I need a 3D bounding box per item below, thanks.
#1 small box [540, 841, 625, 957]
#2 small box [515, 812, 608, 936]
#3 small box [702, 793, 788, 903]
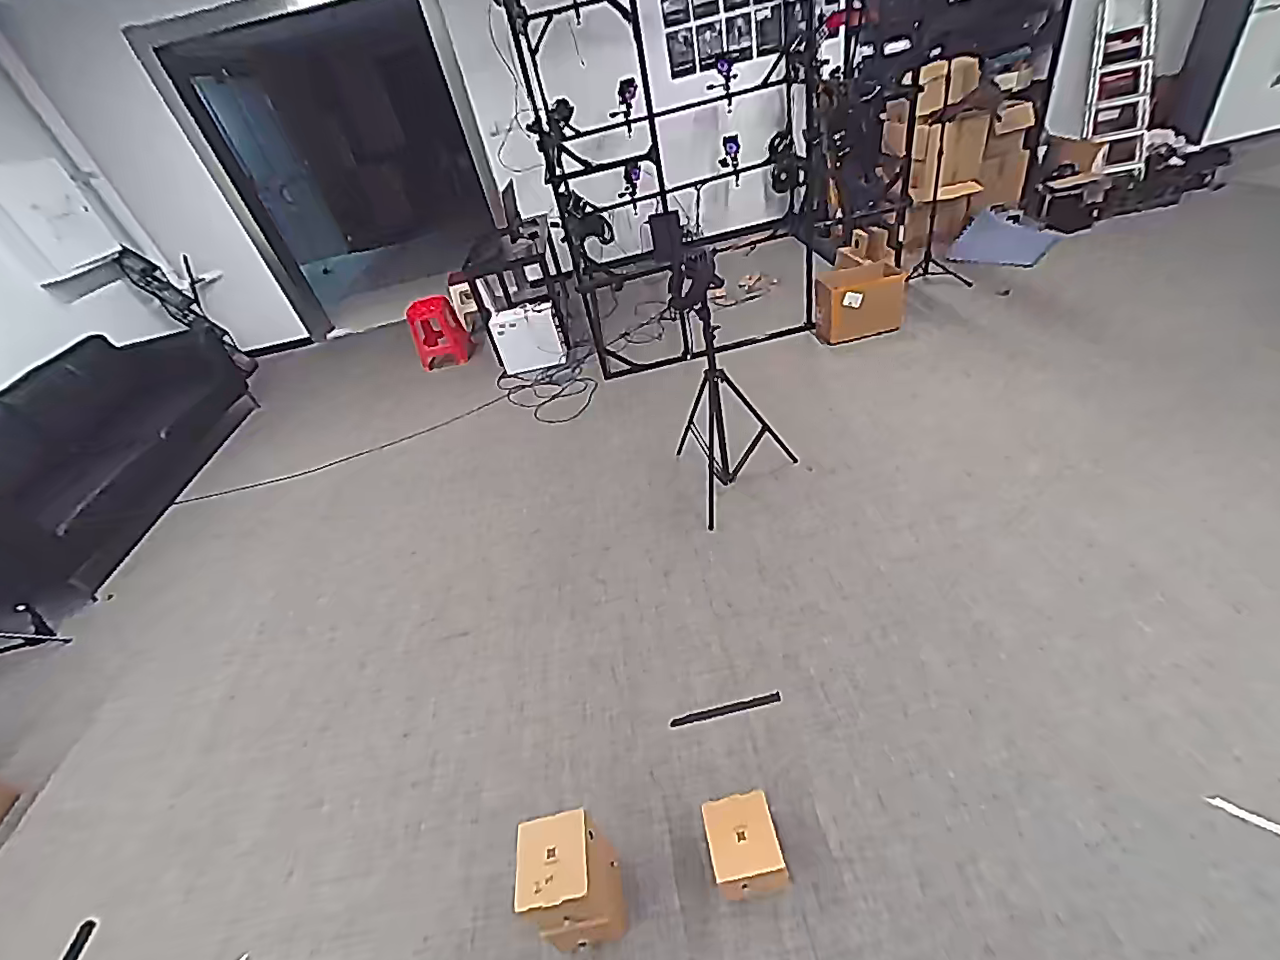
[{"bbox_3d":[-0.141,1.037,1.337,0.168,0.176,0.179,-15,37,2],"label":"small box"},{"bbox_3d":[-0.177,0.906,1.244,0.168,0.176,0.179,-15,38,2],"label":"small box"},{"bbox_3d":[0.262,0.922,1.348,0.168,0.176,0.179,-14,37,0],"label":"small box"}]
